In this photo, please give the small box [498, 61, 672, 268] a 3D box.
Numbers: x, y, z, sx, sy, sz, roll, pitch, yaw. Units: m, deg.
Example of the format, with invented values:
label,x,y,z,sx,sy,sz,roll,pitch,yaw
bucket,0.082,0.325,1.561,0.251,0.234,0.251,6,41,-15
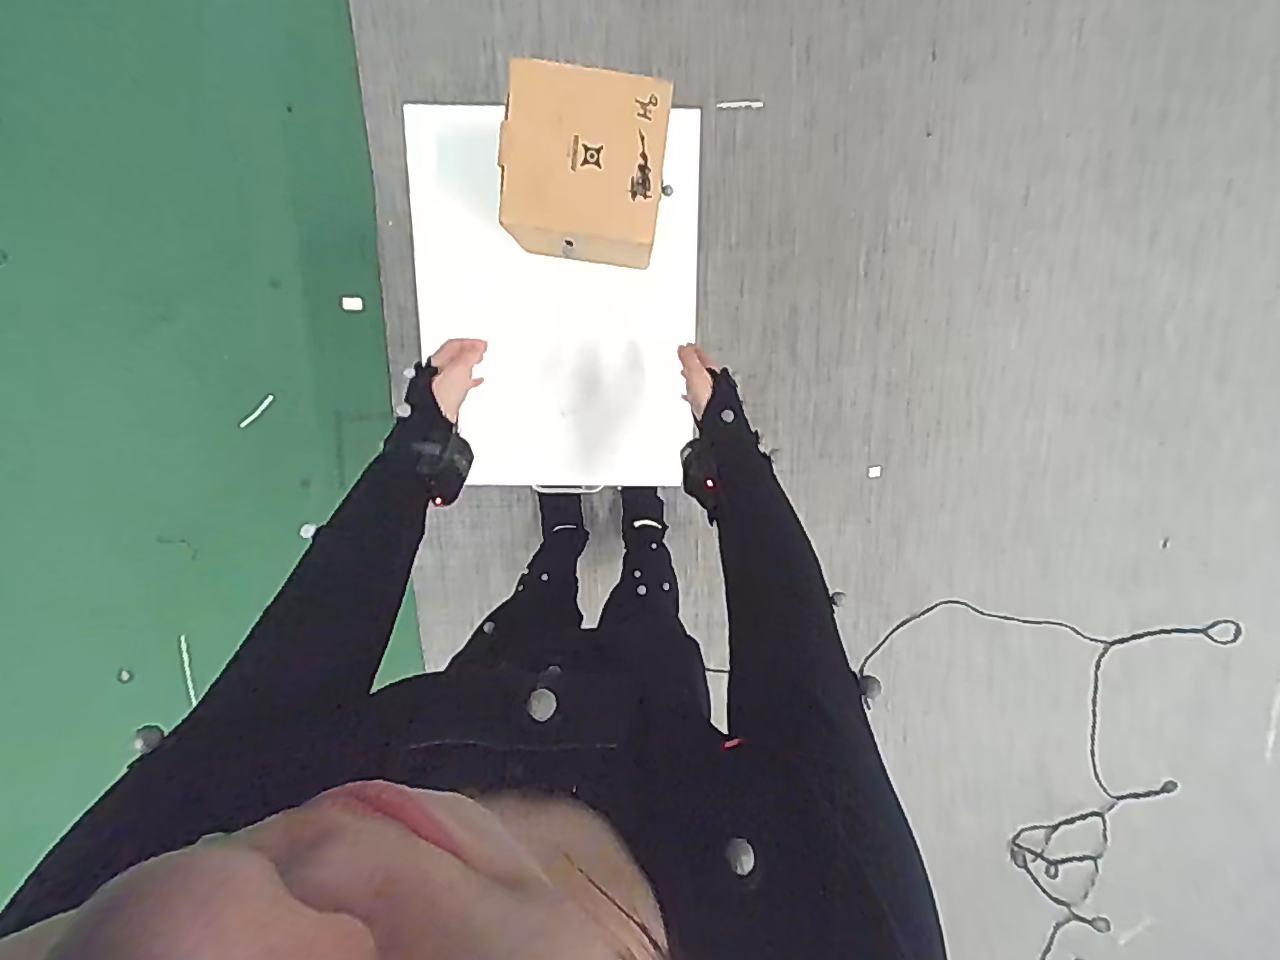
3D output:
label,x,y,z,sx,sy,sz,roll,pitch,yaw
small box,-0.062,-0.368,0.663,0.179,0.176,0.168,7,102,-2
